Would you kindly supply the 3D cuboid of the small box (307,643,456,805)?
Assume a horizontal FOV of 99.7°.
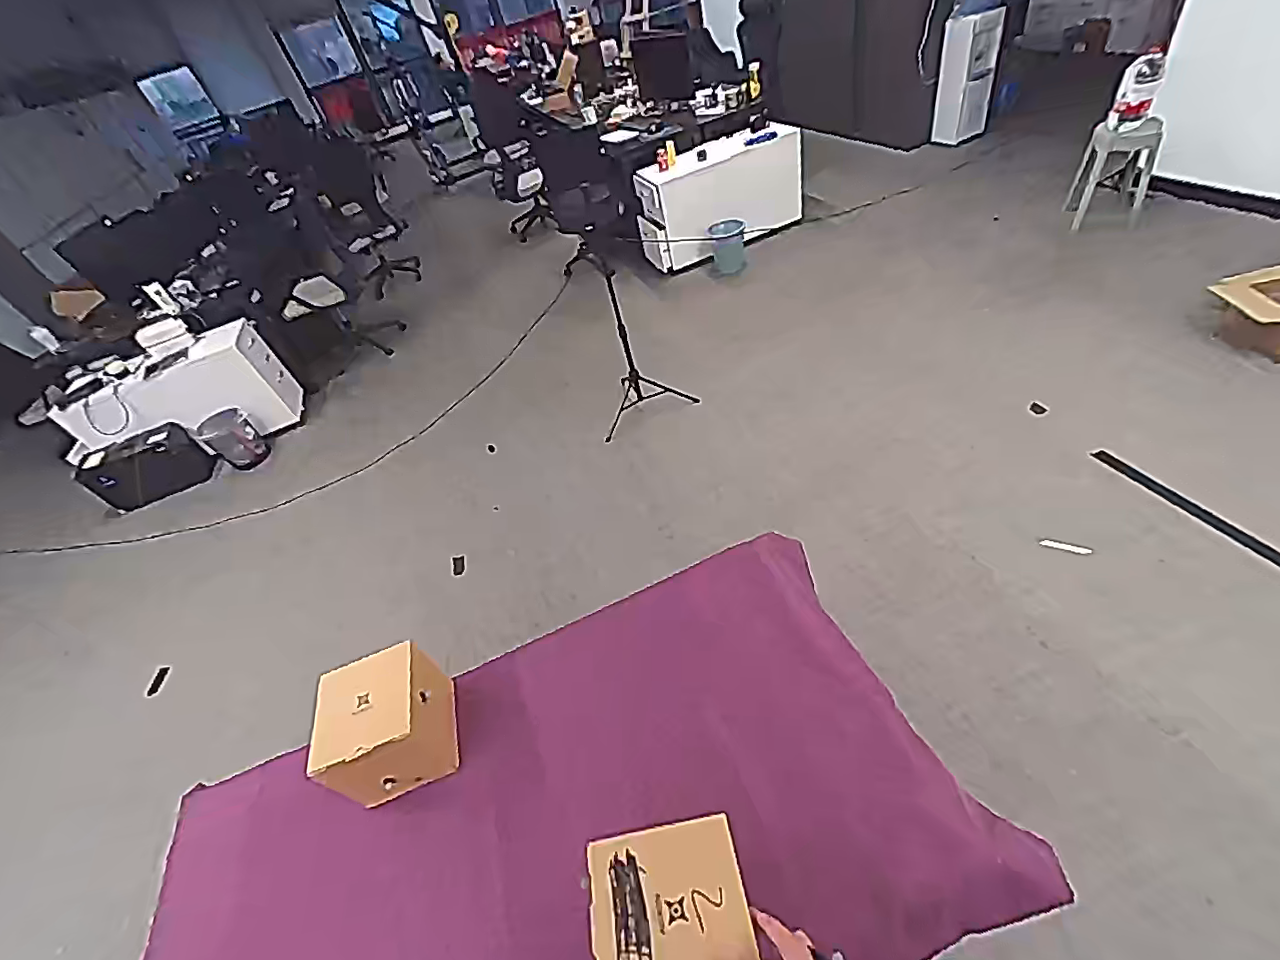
[{"bbox_3d":[-0.435,0.422,0.937,0.168,0.176,0.179,-22,44,-5],"label":"small box"}]
